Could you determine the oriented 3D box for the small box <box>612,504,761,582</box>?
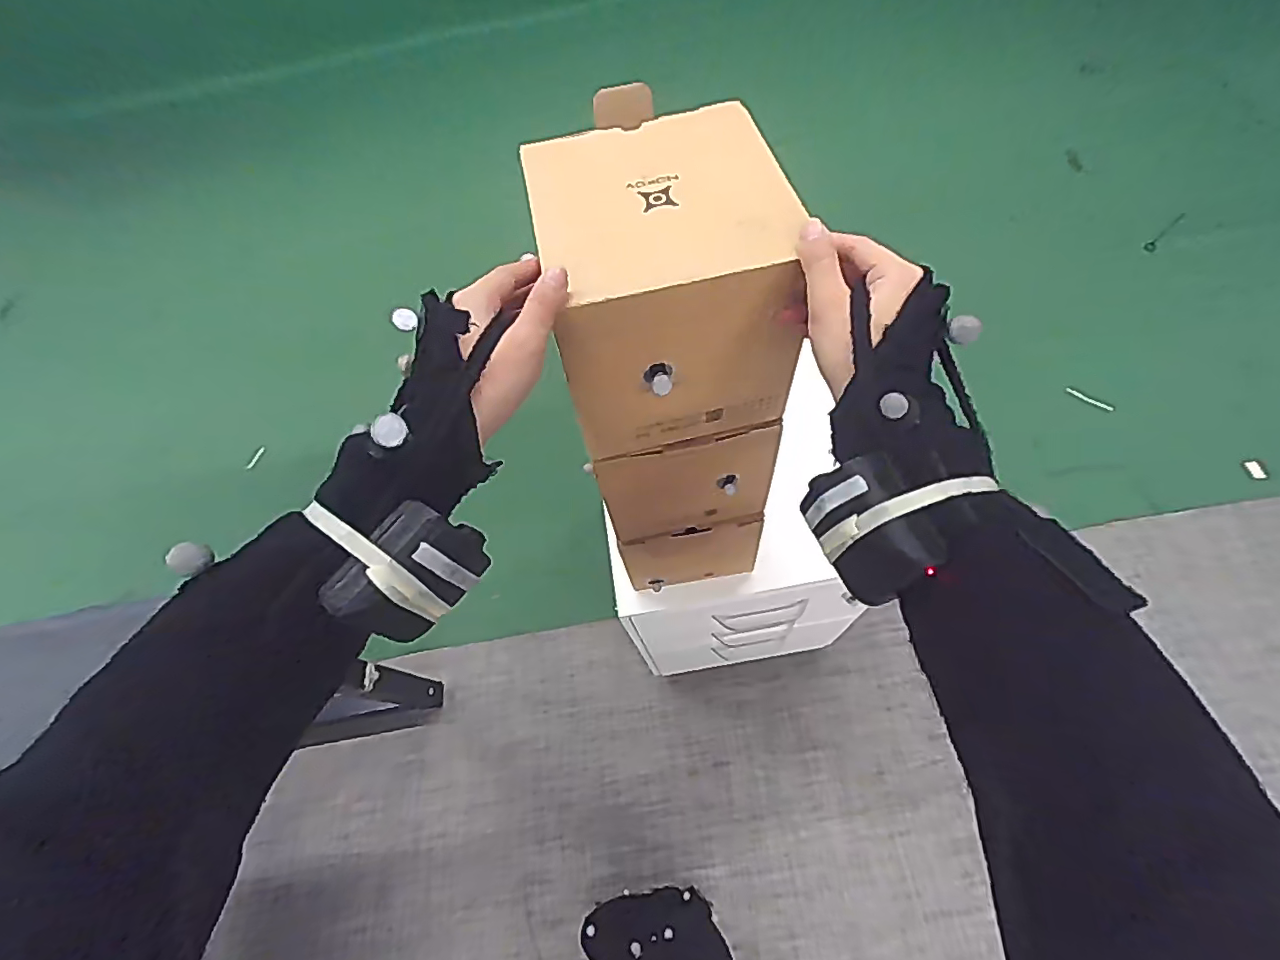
[{"bbox_3d":[0.050,0.022,0.696,0.168,0.176,0.179,-9,60,1],"label":"small box"}]

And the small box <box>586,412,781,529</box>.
[{"bbox_3d":[0.032,-0.063,0.558,0.168,0.176,0.179,-11,60,-2],"label":"small box"}]

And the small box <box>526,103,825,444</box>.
[{"bbox_3d":[0.020,-0.144,0.418,0.168,0.176,0.179,-12,60,-2],"label":"small box"}]
